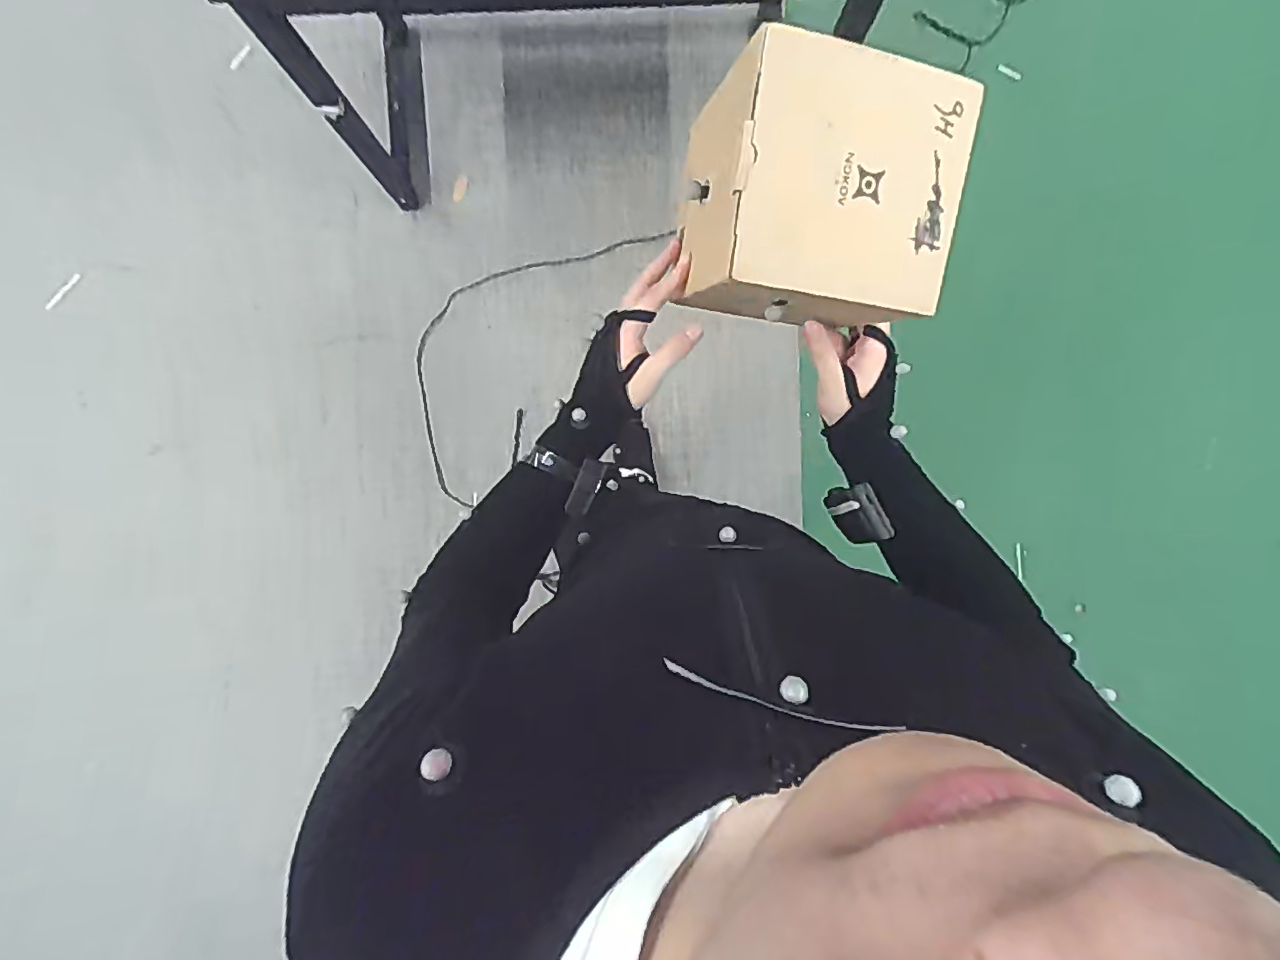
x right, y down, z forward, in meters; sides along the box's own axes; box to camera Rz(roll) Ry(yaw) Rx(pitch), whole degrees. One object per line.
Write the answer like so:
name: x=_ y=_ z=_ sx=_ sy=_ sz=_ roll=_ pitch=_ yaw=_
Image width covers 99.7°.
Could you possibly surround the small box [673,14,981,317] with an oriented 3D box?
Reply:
small box: x=0.135 y=-0.236 z=0.461 sx=0.179 sy=0.176 sz=0.168 roll=5 pitch=103 yaw=-11
